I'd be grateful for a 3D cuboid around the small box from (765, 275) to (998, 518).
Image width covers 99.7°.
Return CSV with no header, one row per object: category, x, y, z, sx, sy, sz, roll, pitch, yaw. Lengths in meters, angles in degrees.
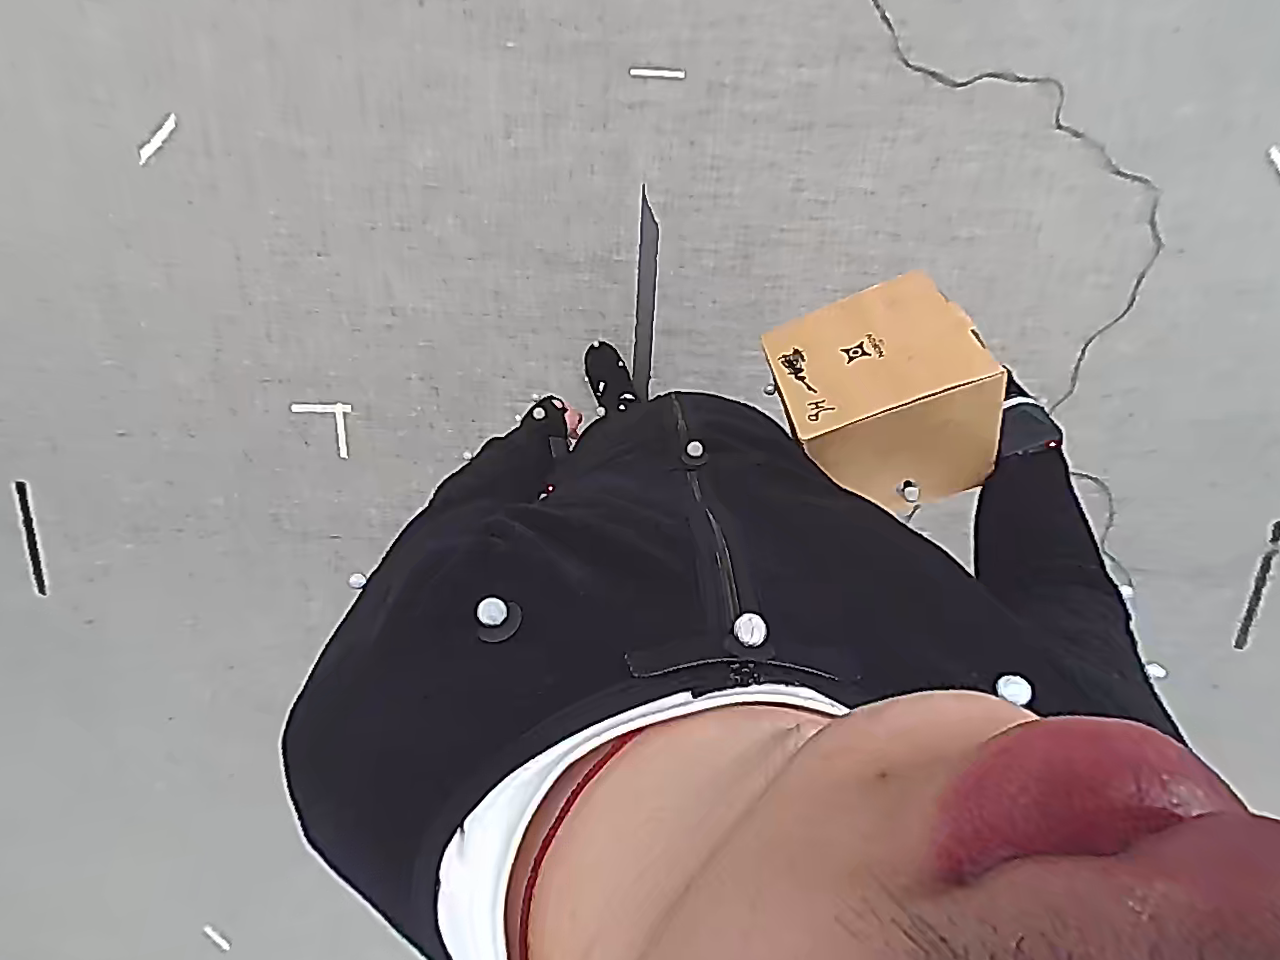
small box,0.256,-0.084,0.598,0.179,0.168,0.176,-19,138,15
